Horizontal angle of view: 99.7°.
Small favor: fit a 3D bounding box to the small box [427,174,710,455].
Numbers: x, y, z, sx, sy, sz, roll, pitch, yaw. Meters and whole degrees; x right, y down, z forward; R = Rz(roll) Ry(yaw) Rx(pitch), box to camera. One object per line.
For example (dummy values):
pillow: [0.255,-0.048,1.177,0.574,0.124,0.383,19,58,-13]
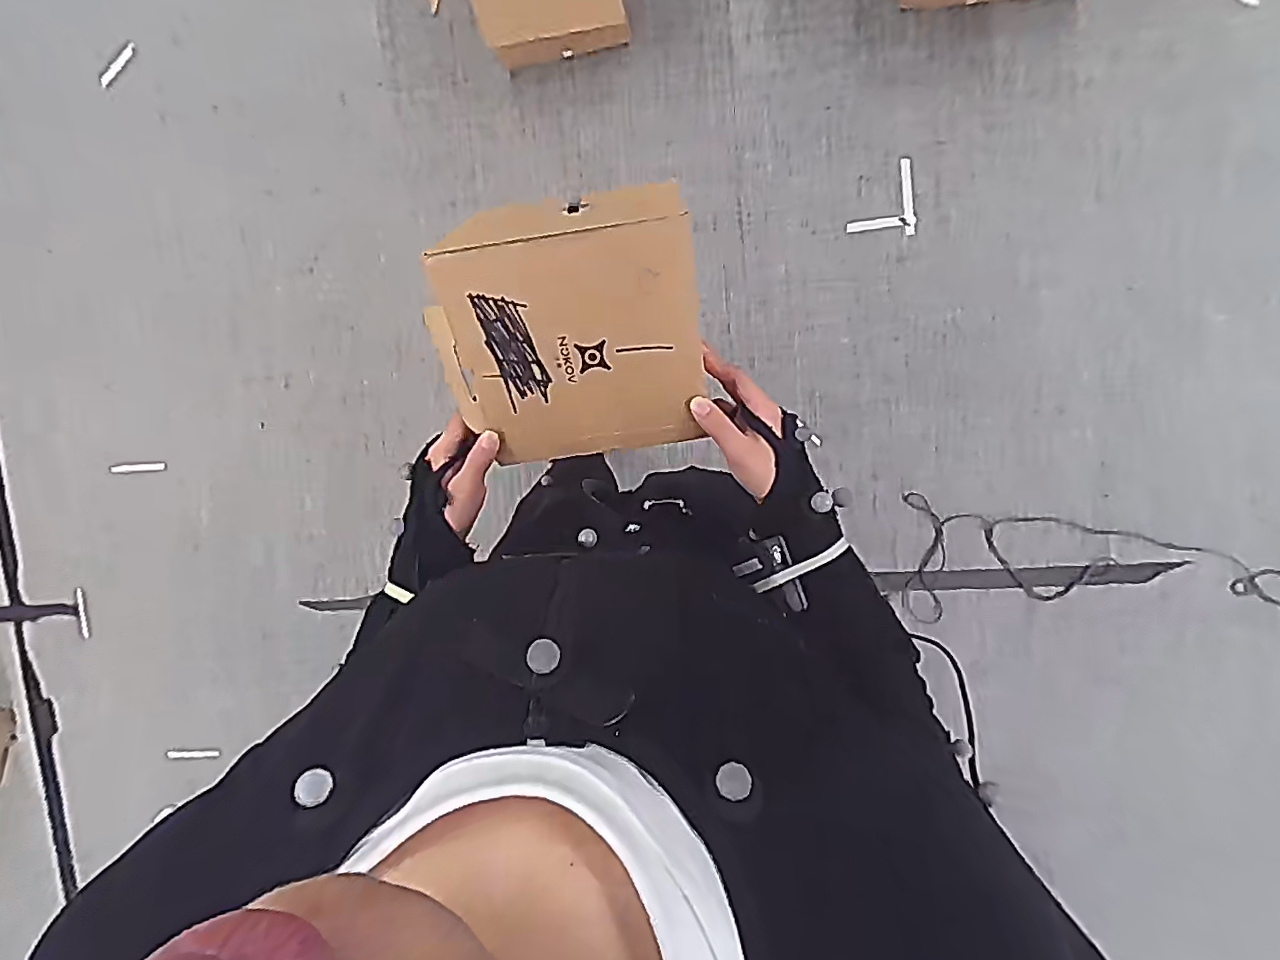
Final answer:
small box: [-0.040,-0.140,0.444,0.179,0.176,0.168,-6,126,4]
